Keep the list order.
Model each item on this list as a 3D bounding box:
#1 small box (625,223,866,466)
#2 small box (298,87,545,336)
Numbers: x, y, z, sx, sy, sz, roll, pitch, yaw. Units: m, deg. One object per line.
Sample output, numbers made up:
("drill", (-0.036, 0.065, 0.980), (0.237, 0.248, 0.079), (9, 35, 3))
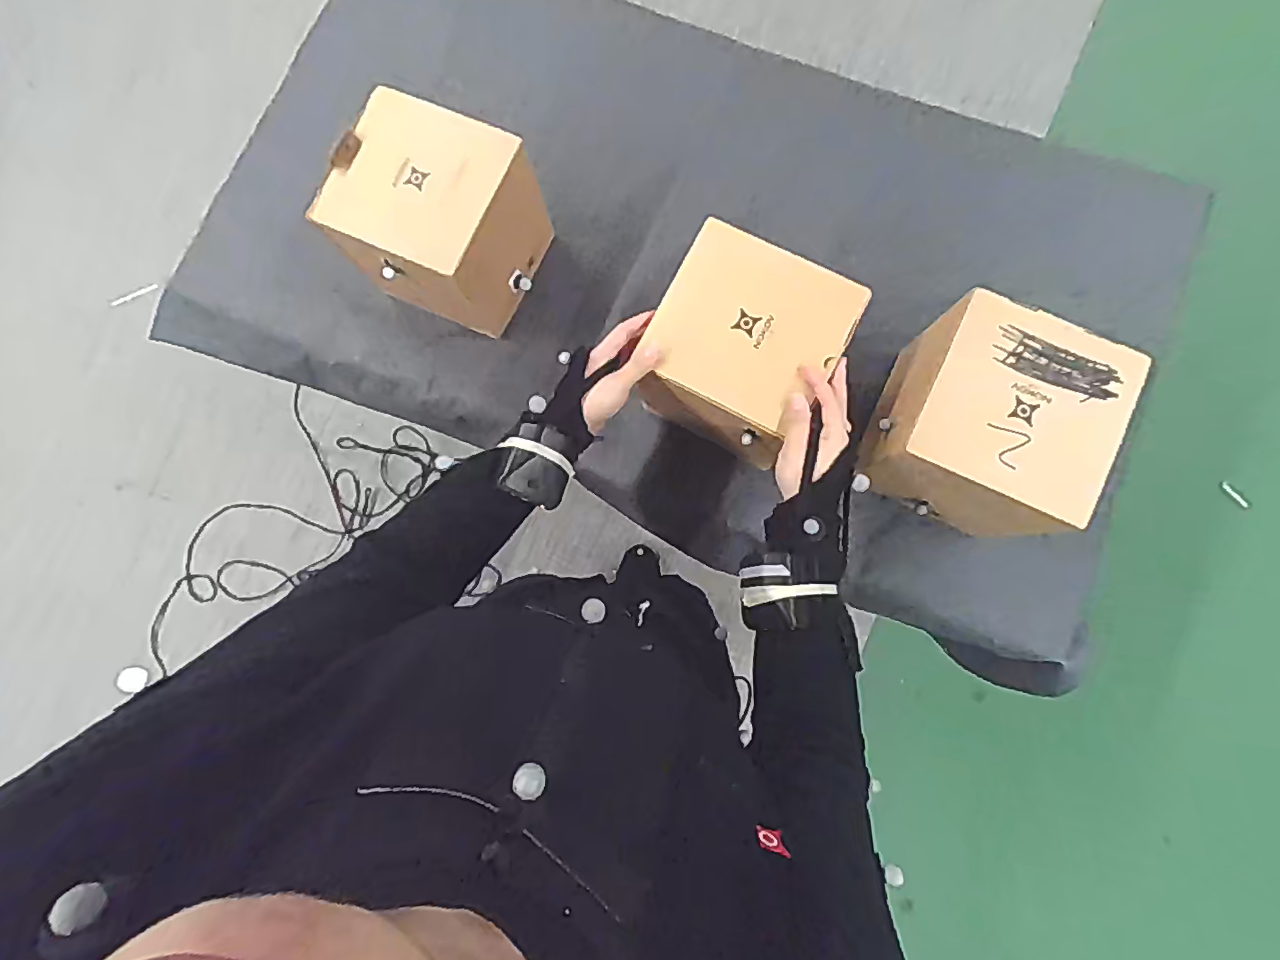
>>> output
("small box", (0.102, -0.129, 0.585), (0.179, 0.176, 0.168), (28, 84, 6))
("small box", (-0.233, -0.292, 0.624), (0.179, 0.176, 0.168), (23, 84, 5))
